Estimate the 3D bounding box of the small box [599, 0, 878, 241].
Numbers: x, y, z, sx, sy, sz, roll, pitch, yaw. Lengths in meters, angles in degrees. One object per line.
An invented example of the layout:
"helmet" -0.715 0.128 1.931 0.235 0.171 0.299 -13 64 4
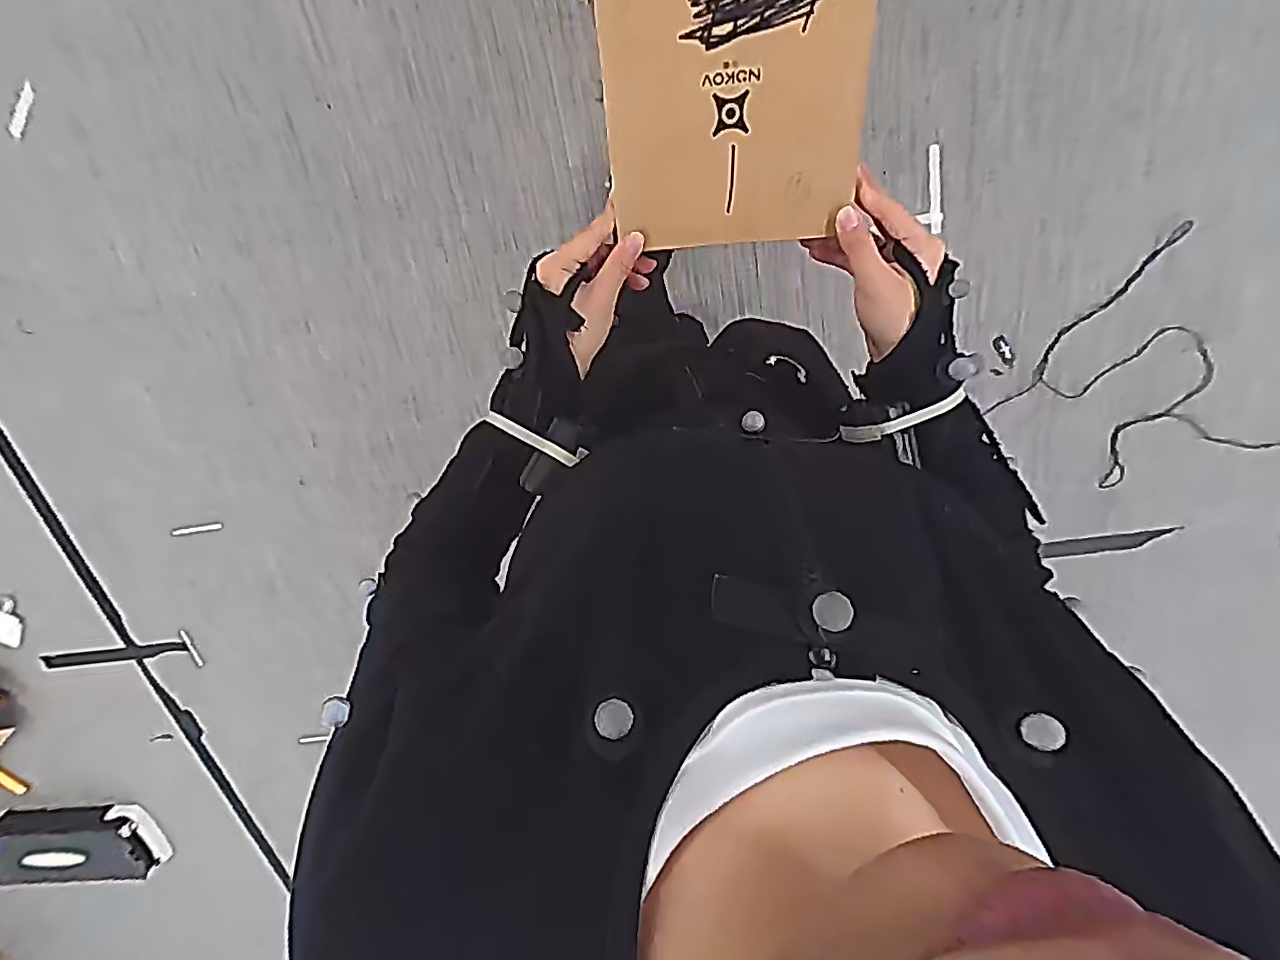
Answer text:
"small box" 0.065 -0.290 0.405 0.168 0.176 0.179 -1 123 7
